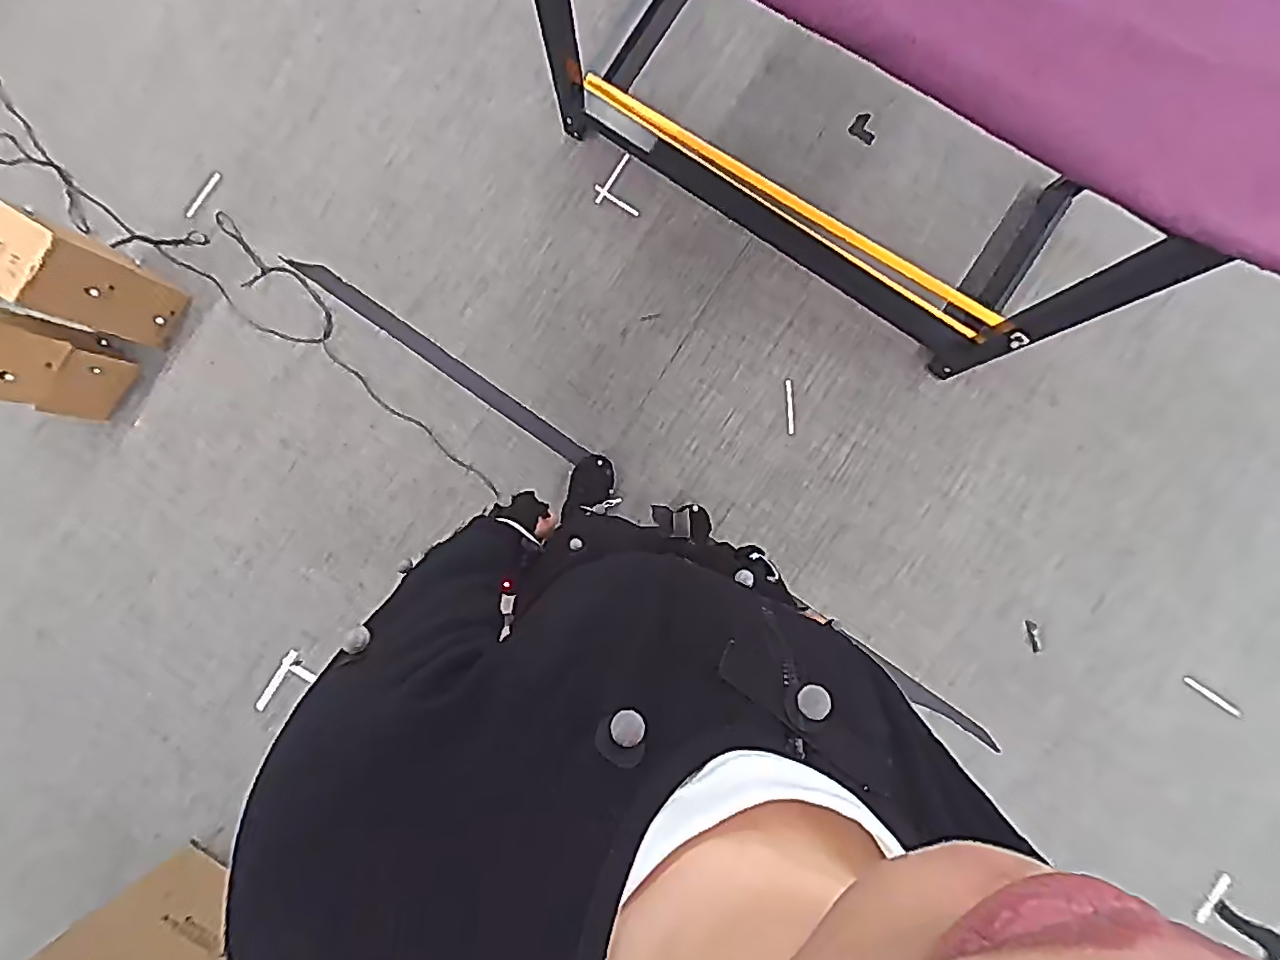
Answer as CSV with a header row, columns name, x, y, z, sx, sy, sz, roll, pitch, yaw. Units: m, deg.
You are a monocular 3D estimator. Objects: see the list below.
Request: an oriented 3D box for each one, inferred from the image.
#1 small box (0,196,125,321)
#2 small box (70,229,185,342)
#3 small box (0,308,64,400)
name,x,y,z,sx,sy,sz,roll,pitch,yaw
small box,-1.289,-0.468,1.157,0.179,0.176,0.168,32,90,0
small box,-1.290,-0.464,1.322,0.179,0.176,0.168,34,89,0
small box,-1.419,-0.286,1.157,0.179,0.176,0.168,29,89,2
